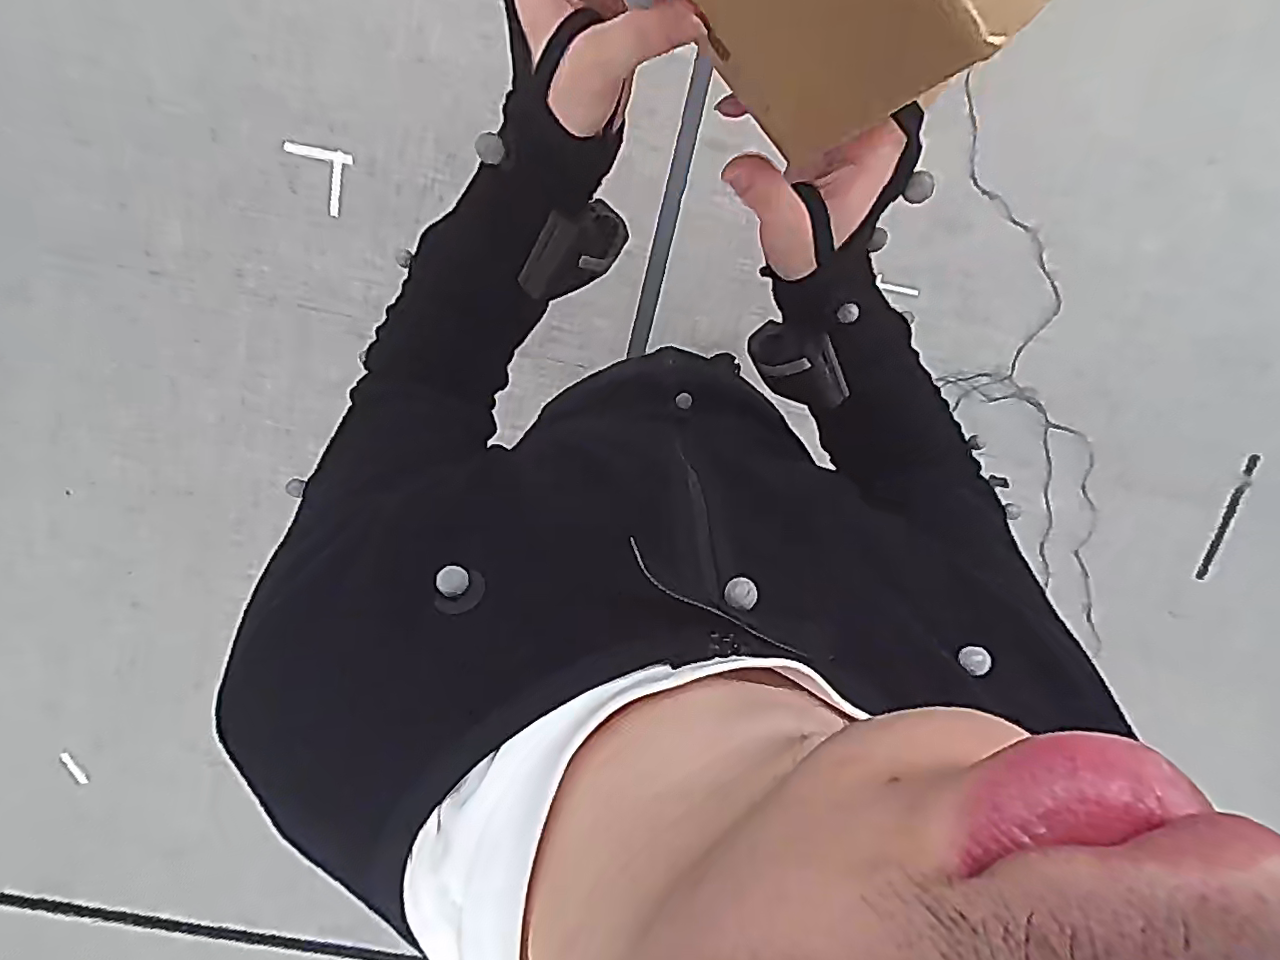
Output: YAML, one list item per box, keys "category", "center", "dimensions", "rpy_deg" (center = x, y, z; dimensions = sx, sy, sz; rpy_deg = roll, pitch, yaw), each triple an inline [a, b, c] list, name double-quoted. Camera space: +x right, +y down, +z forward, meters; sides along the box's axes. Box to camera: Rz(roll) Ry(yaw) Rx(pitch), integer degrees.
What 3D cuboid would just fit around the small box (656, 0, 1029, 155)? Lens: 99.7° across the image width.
- category: "small box"
  center: [0.078, -0.236, 0.154]
  dimensions: [0.168, 0.176, 0.179]
  rpy_deg: [42, 108, -14]
